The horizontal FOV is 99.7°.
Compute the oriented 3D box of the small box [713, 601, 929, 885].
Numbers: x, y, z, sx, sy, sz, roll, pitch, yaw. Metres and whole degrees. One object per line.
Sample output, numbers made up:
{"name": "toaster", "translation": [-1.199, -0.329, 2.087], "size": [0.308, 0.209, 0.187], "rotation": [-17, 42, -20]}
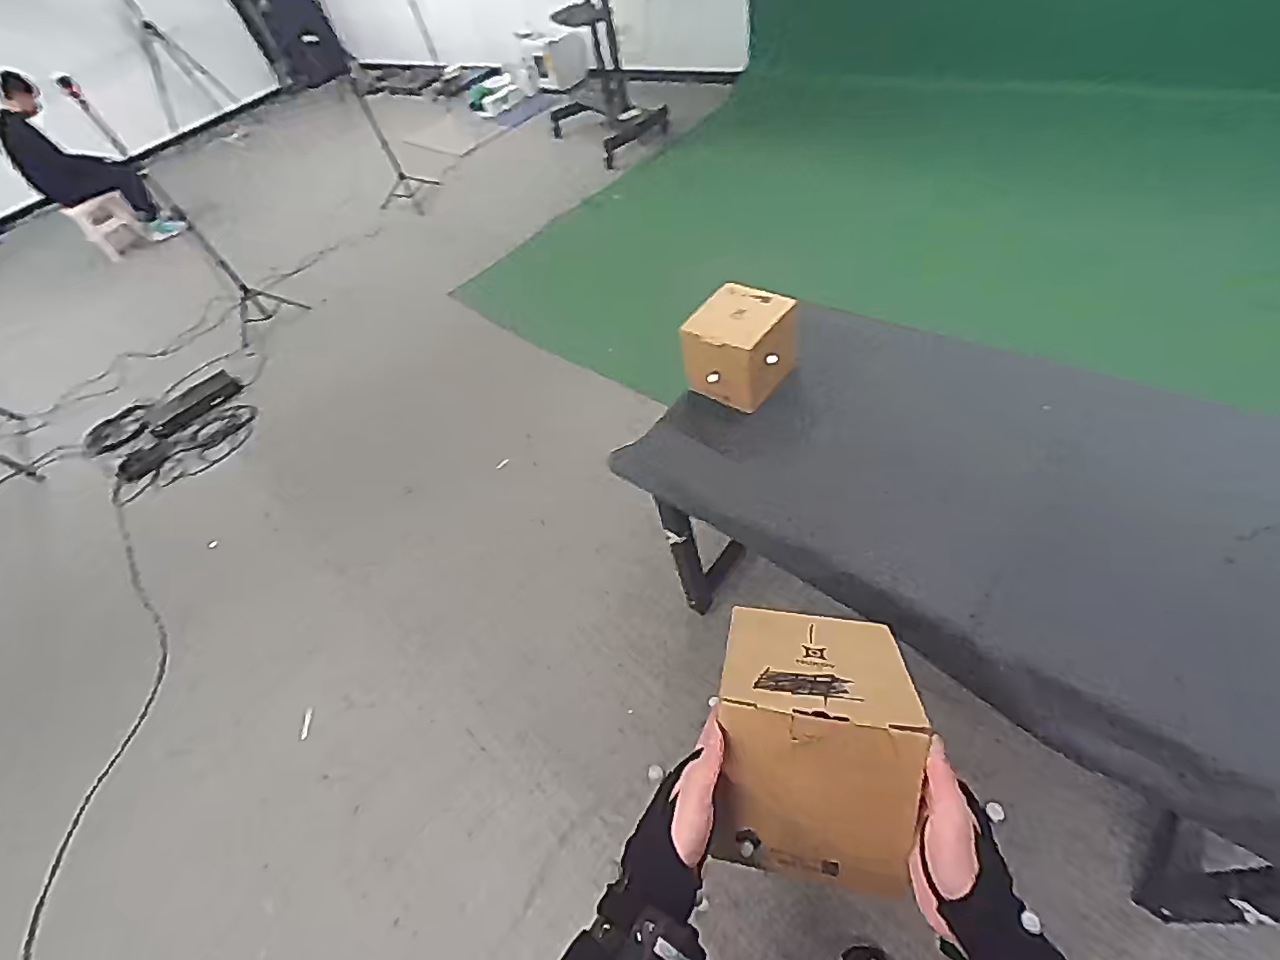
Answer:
{"name": "small box", "translation": [0.164, 0.242, 0.529], "size": [0.168, 0.176, 0.179], "rotation": [5, 15, 13]}

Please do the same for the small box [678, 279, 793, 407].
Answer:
{"name": "small box", "translation": [0.204, -0.282, 1.127], "size": [0.168, 0.176, 0.179], "rotation": [30, 66, 30]}
